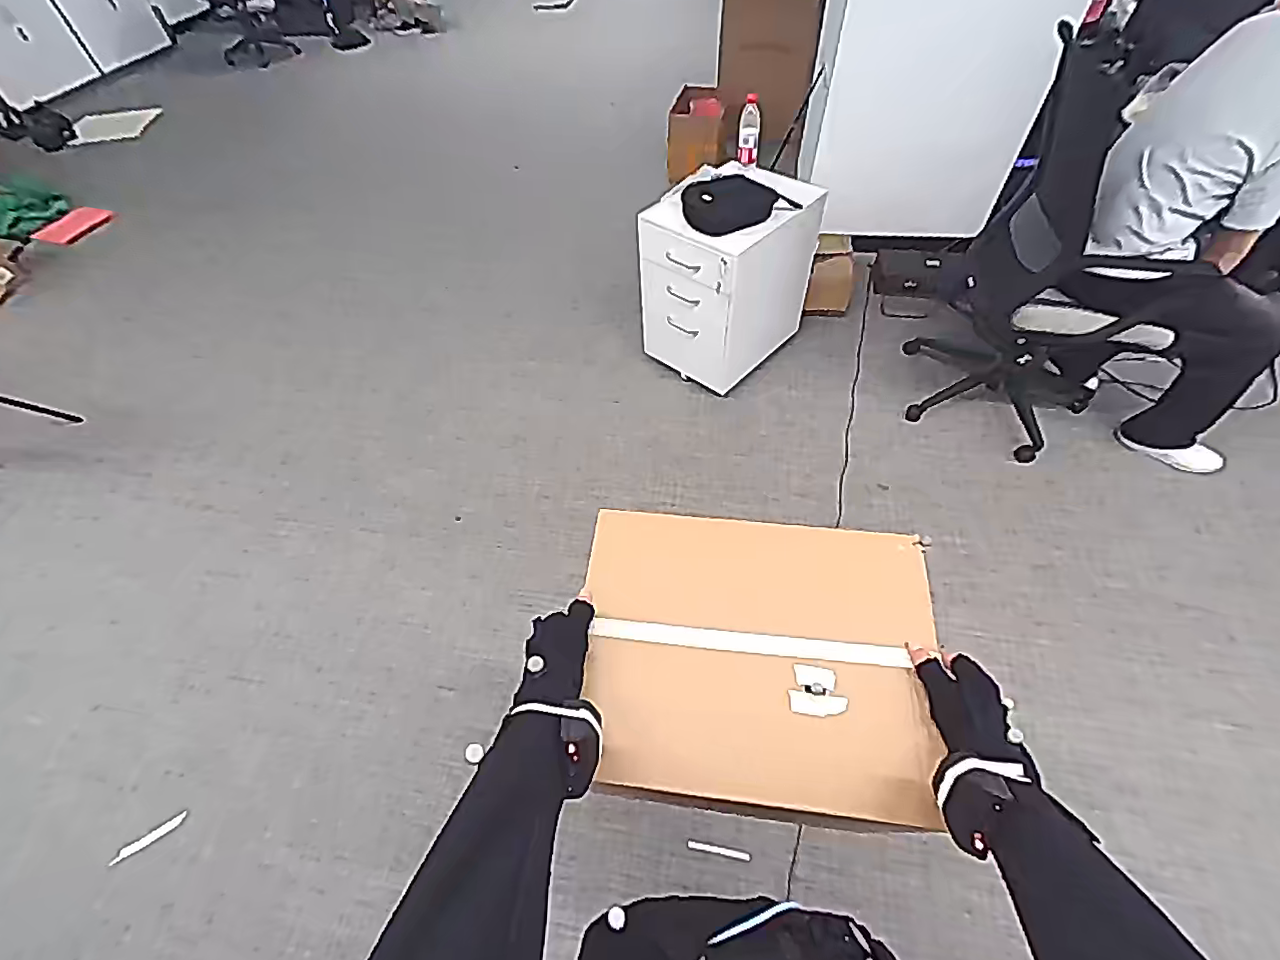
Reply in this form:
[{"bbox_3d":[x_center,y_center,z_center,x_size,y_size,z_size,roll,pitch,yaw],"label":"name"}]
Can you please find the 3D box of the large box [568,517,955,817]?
[{"bbox_3d":[0.138,0.270,0.757,0.408,0.320,0.320,4,59,5],"label":"large box"}]
